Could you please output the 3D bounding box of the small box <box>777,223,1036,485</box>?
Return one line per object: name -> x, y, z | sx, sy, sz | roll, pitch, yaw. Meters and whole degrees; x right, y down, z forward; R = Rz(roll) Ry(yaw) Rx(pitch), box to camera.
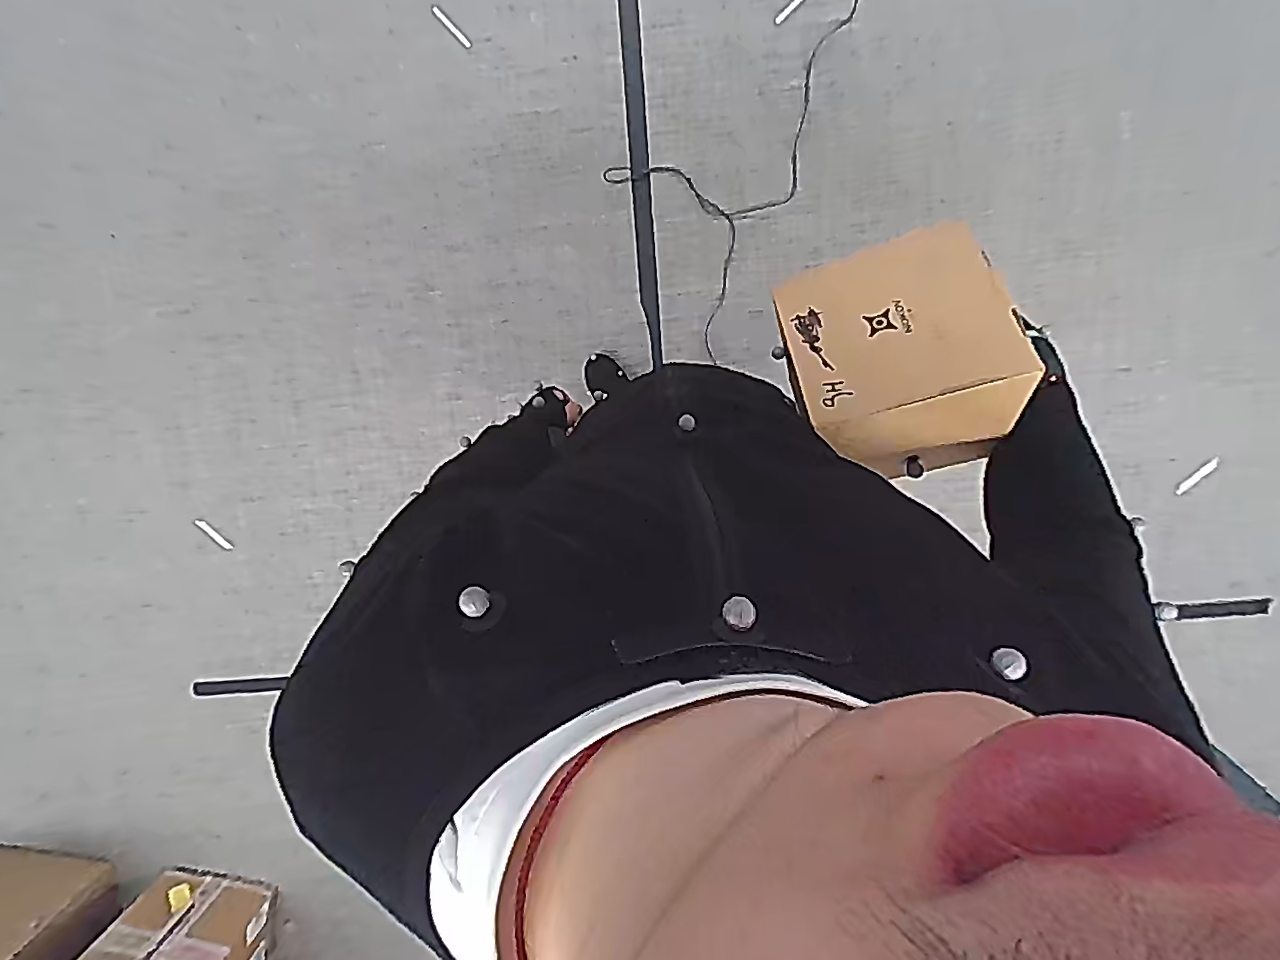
small box -> 0.250, -0.112, 0.549 | 0.179, 0.176, 0.168 | -15, 64, 16
